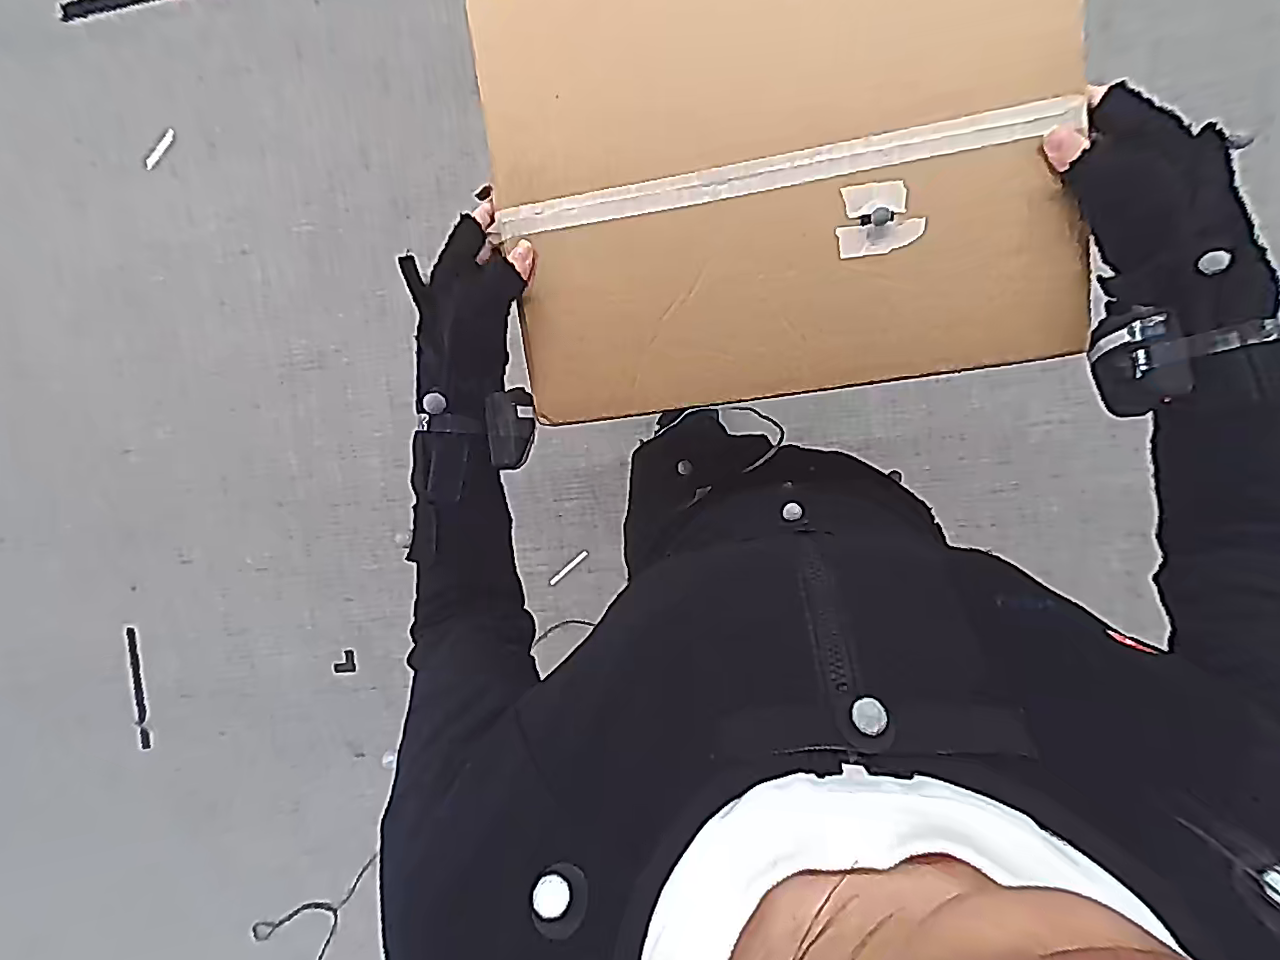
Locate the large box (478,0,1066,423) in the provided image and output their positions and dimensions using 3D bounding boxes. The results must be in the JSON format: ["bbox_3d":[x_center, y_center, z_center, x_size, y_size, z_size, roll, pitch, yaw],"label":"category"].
[{"bbox_3d":[0.108,-0.247,0.545,0.408,0.320,0.320,-8,99,7],"label":"large box"}]
